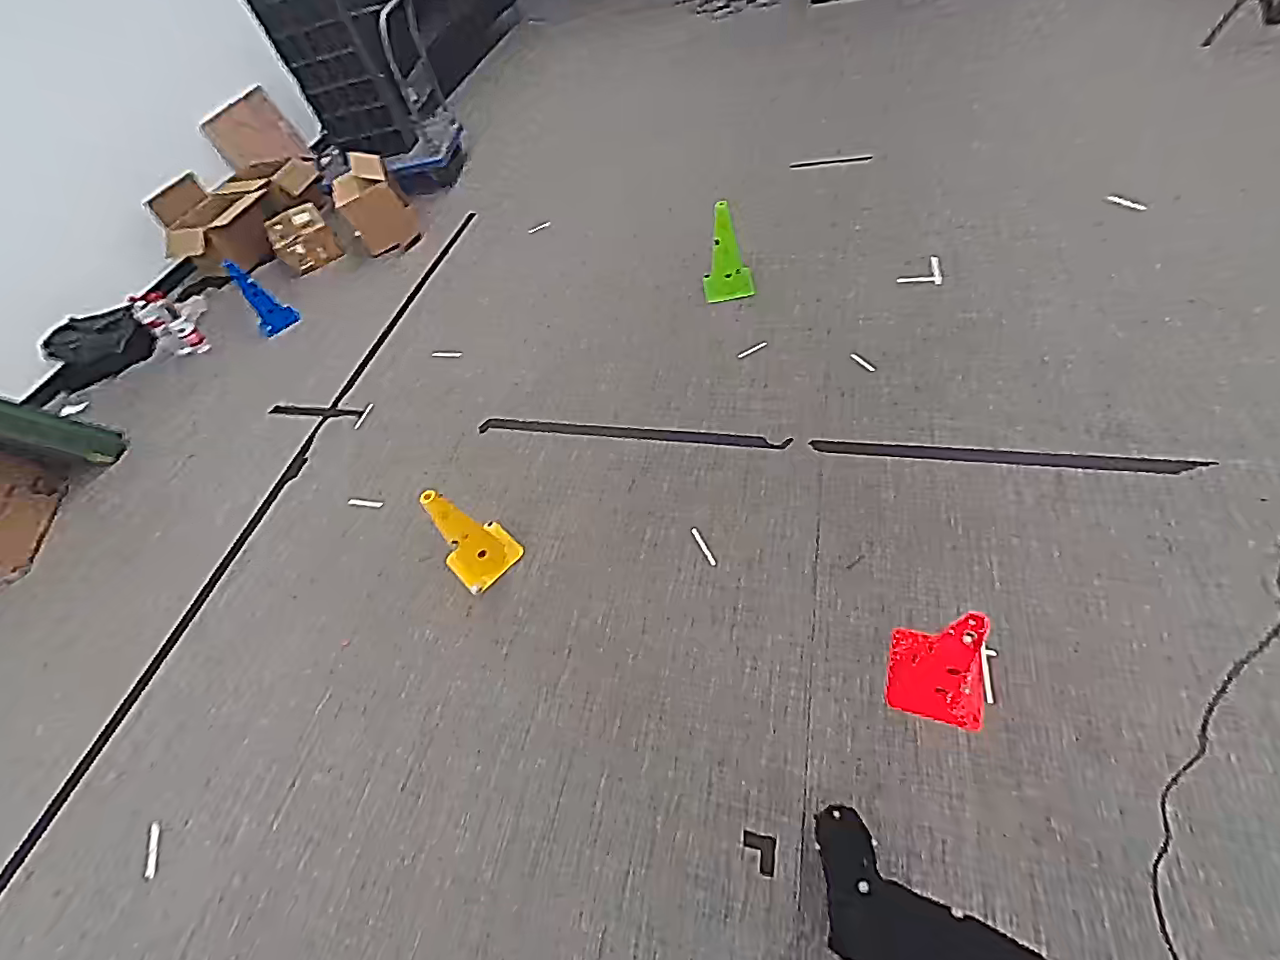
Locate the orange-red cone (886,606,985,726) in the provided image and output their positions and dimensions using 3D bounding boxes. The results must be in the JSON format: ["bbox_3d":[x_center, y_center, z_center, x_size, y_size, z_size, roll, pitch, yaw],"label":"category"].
[{"bbox_3d":[0.657,0.356,1.141,0.199,0.360,0.198,10,57,23],"label":"orange-red cone"}]

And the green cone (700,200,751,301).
[{"bbox_3d":[0.333,-0.938,2.177,0.202,0.368,0.200,-8,53,7],"label":"green cone"}]
